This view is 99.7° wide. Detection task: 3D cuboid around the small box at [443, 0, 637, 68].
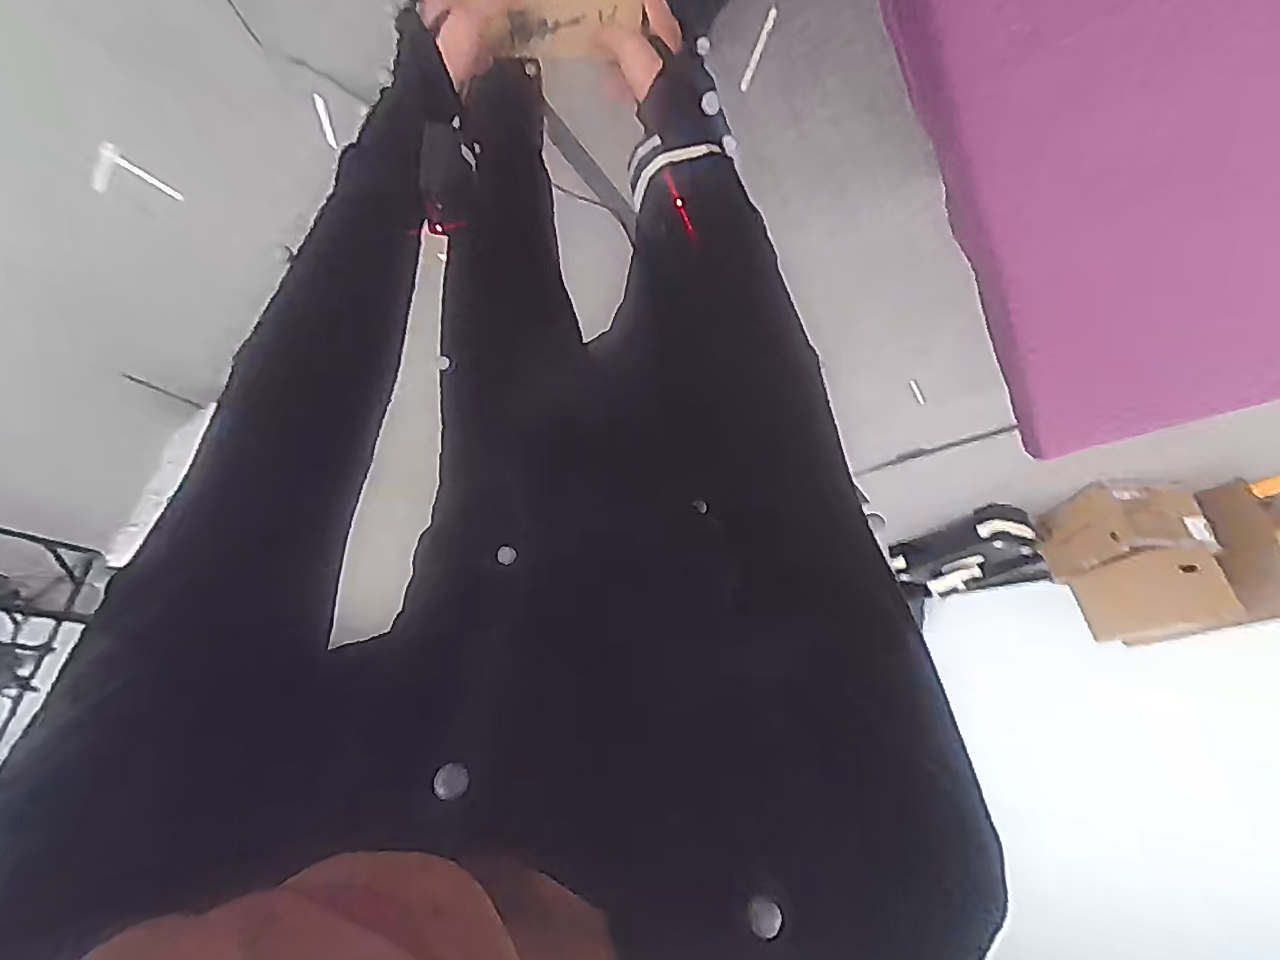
[{"bbox_3d":[-0.093,-0.489,0.486,0.168,0.176,0.179,-4,132,-8],"label":"small box"}]
